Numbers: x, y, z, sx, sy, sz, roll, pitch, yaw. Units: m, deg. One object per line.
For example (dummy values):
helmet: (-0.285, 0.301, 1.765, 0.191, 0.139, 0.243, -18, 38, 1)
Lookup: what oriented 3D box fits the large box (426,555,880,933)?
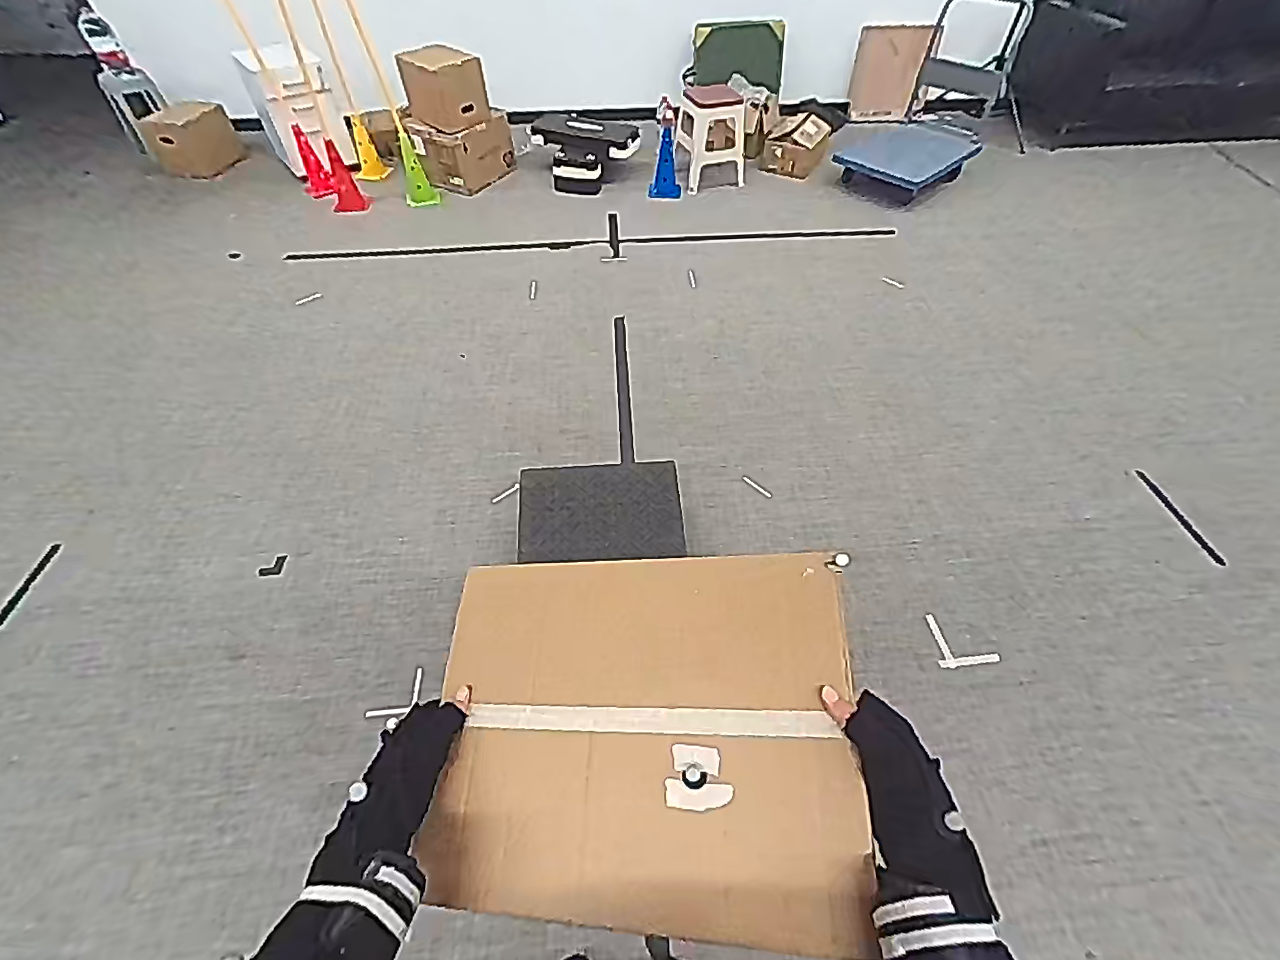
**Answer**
large box: (0.032, 0.297, 0.651, 0.408, 0.320, 0.320, -4, 61, 14)
